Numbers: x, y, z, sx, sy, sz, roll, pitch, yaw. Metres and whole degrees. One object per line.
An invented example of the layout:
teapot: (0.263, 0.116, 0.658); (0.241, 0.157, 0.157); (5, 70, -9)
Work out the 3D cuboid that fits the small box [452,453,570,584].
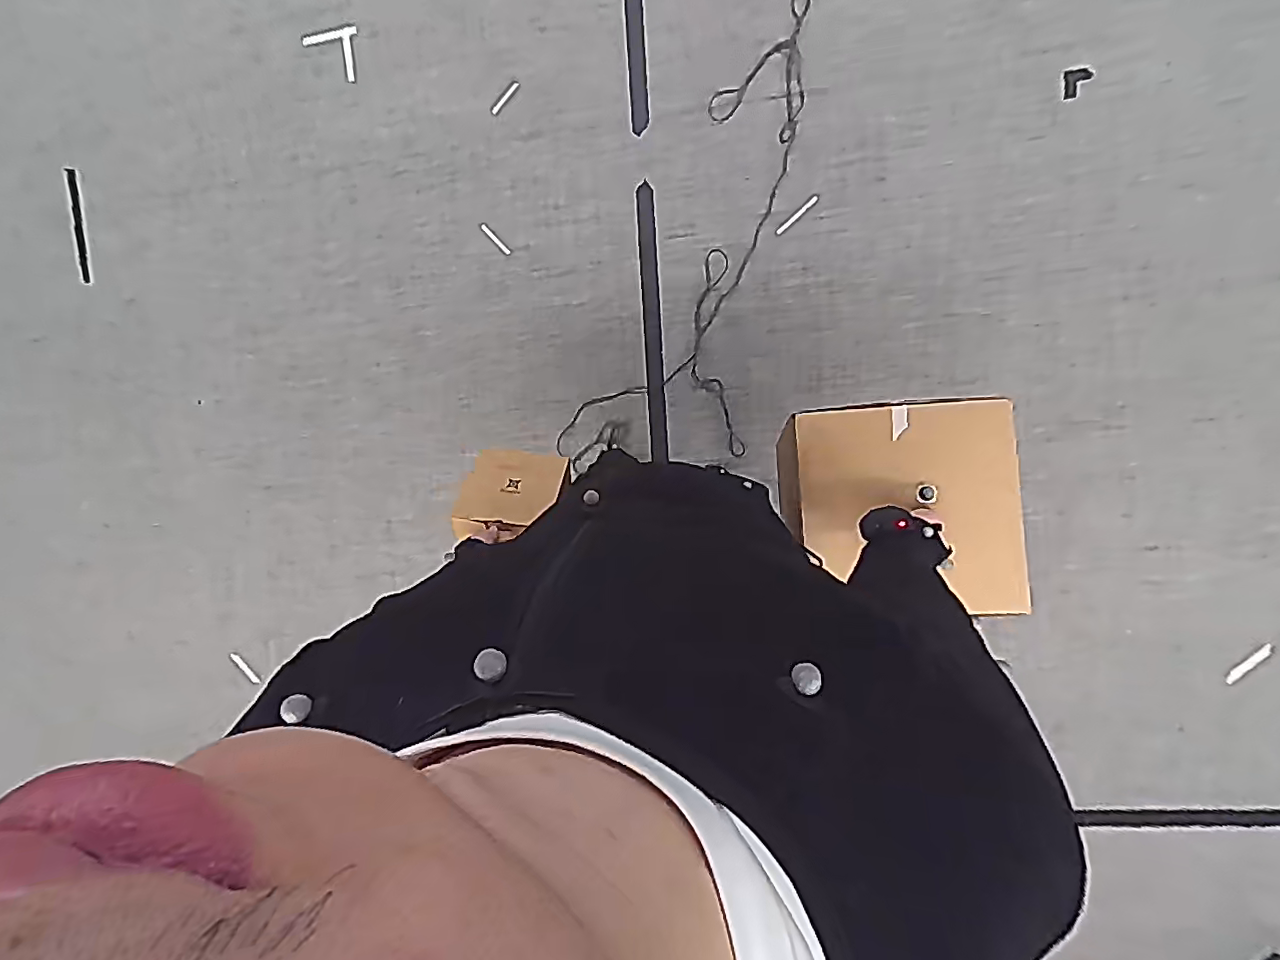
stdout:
small box: (-0.227, 0.074, 1.010); (0.168, 0.179, 0.176); (5, 132, 2)
